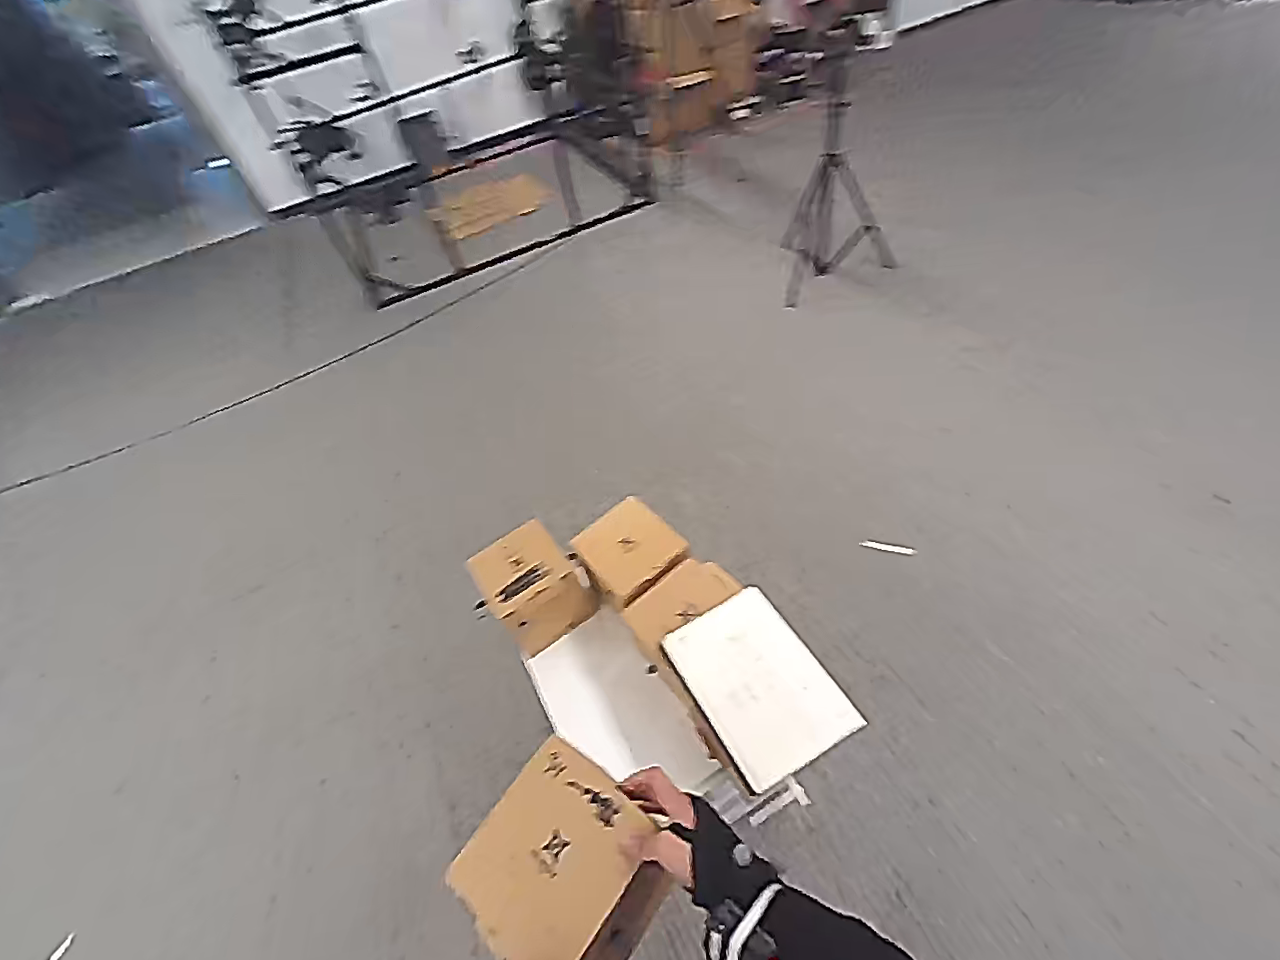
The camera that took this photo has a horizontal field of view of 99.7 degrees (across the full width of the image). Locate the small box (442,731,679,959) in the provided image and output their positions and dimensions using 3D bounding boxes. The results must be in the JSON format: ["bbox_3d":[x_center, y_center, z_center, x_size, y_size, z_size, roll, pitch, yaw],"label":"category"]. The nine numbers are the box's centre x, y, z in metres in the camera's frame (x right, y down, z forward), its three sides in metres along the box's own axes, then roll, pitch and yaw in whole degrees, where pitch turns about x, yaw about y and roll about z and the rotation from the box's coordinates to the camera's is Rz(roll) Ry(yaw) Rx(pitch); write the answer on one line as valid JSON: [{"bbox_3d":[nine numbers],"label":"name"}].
[{"bbox_3d":[-0.076,0.429,0.611,0.168,0.176,0.179,26,64,33],"label":"small box"}]
